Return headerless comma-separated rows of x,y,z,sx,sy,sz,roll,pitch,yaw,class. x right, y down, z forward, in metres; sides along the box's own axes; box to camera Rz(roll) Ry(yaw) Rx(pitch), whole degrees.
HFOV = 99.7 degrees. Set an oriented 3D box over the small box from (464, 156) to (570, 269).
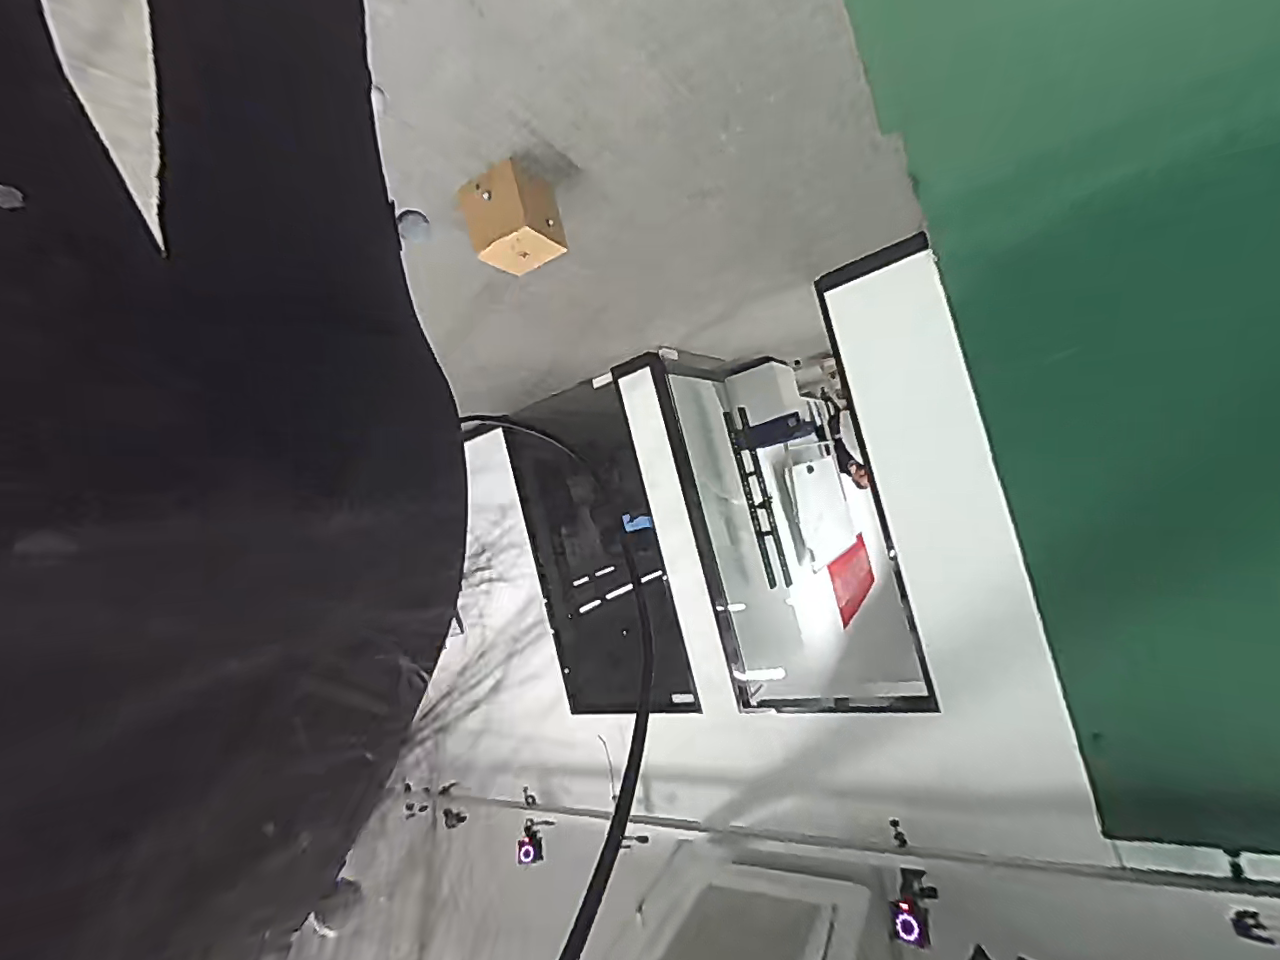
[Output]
-0.300,-0.649,1.325,0.168,0.176,0.179,-15,177,26,small box
